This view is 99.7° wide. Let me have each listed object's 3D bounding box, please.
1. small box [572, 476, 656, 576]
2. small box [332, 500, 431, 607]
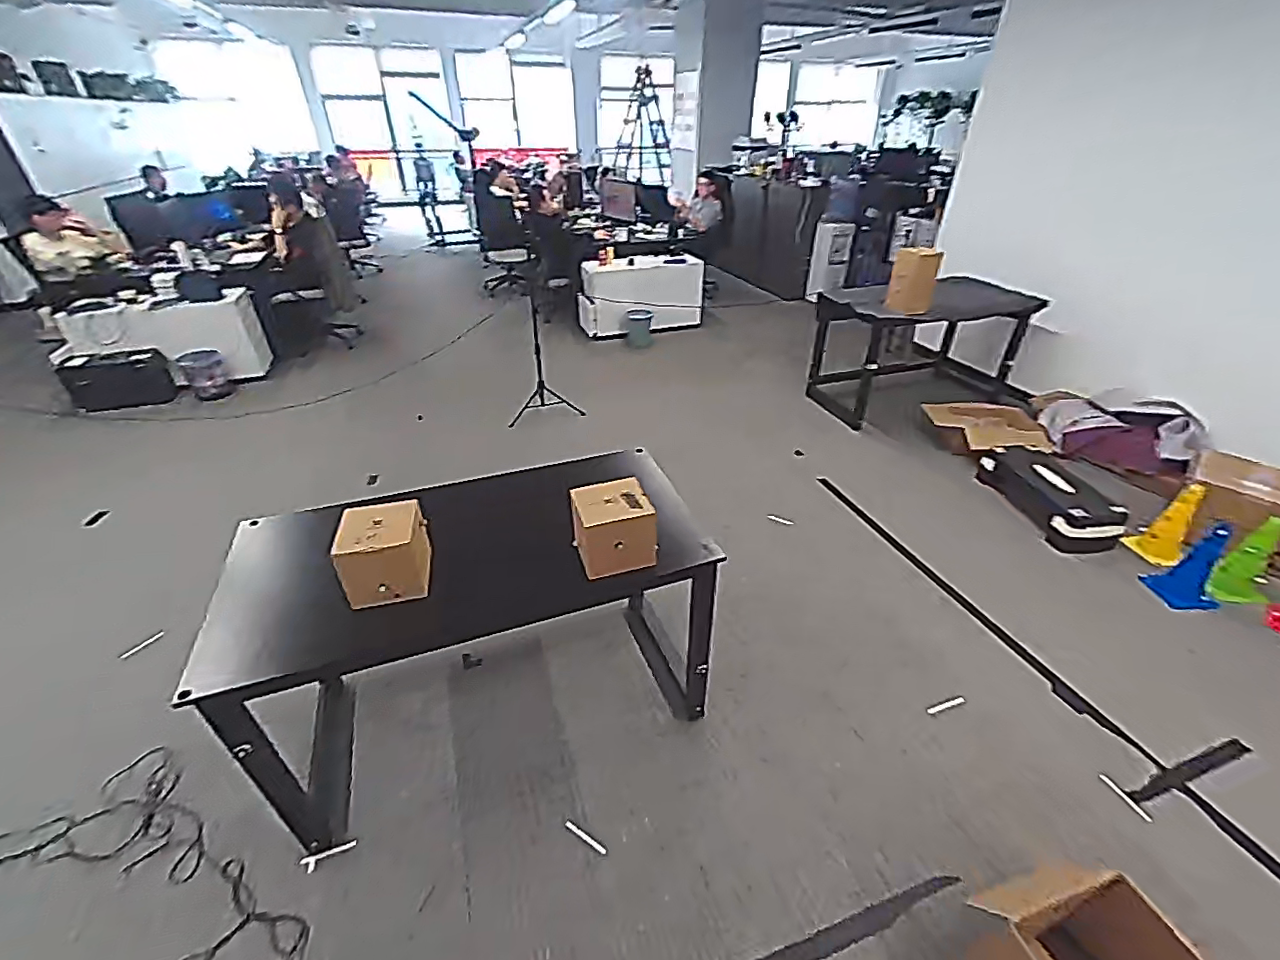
[{"bbox_3d":[-0.066,0.114,1.359,0.179,0.176,0.168,-12,35,-14],"label":"small box"},{"bbox_3d":[-0.601,0.173,1.284,0.168,0.176,0.179,-9,35,-11],"label":"small box"}]
